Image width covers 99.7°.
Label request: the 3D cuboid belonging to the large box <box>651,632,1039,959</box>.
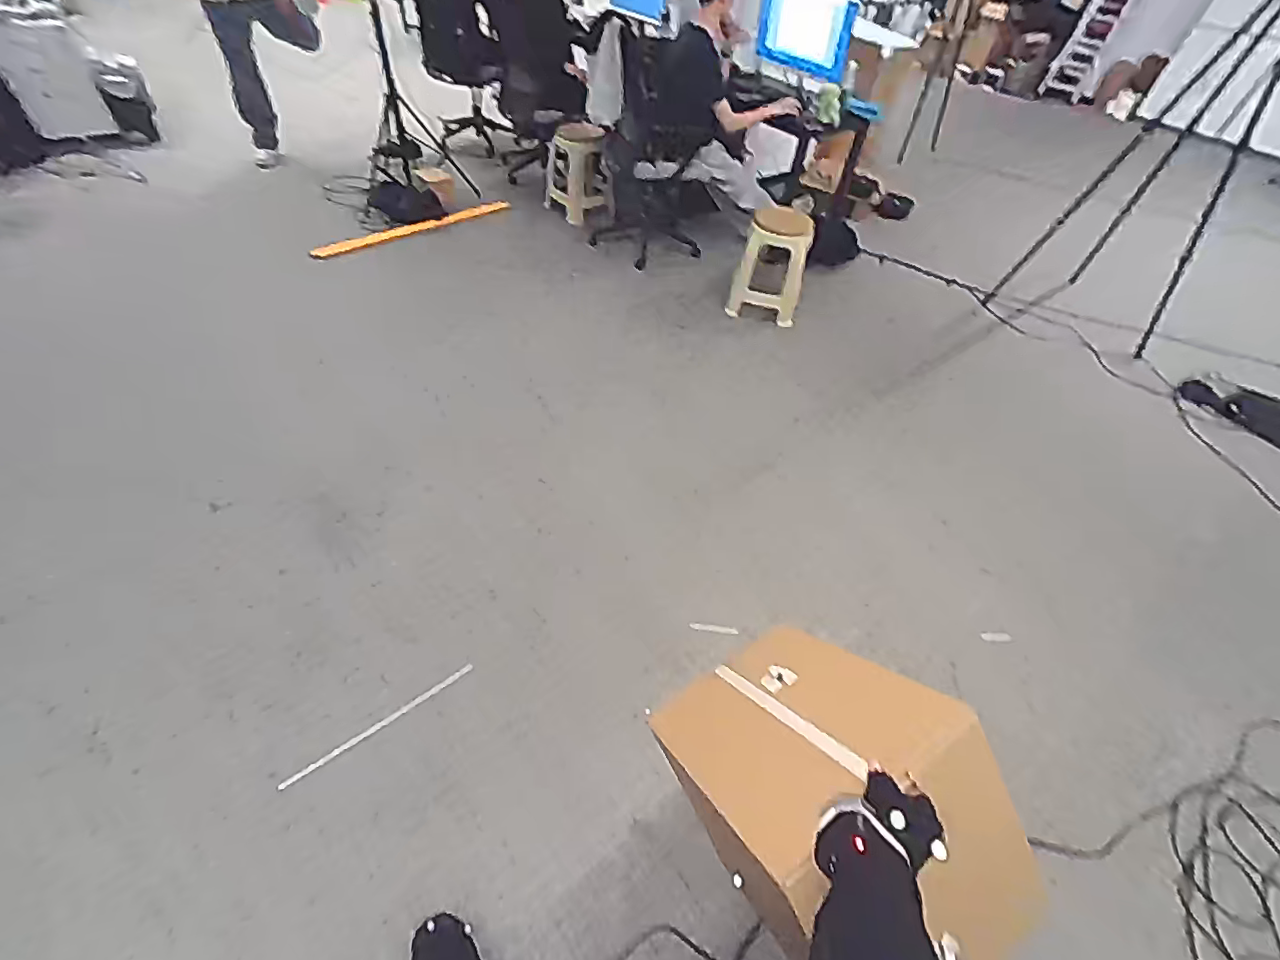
[{"bbox_3d":[0.277,0.491,0.829,0.320,0.408,0.320,-28,99,-17],"label":"large box"}]
